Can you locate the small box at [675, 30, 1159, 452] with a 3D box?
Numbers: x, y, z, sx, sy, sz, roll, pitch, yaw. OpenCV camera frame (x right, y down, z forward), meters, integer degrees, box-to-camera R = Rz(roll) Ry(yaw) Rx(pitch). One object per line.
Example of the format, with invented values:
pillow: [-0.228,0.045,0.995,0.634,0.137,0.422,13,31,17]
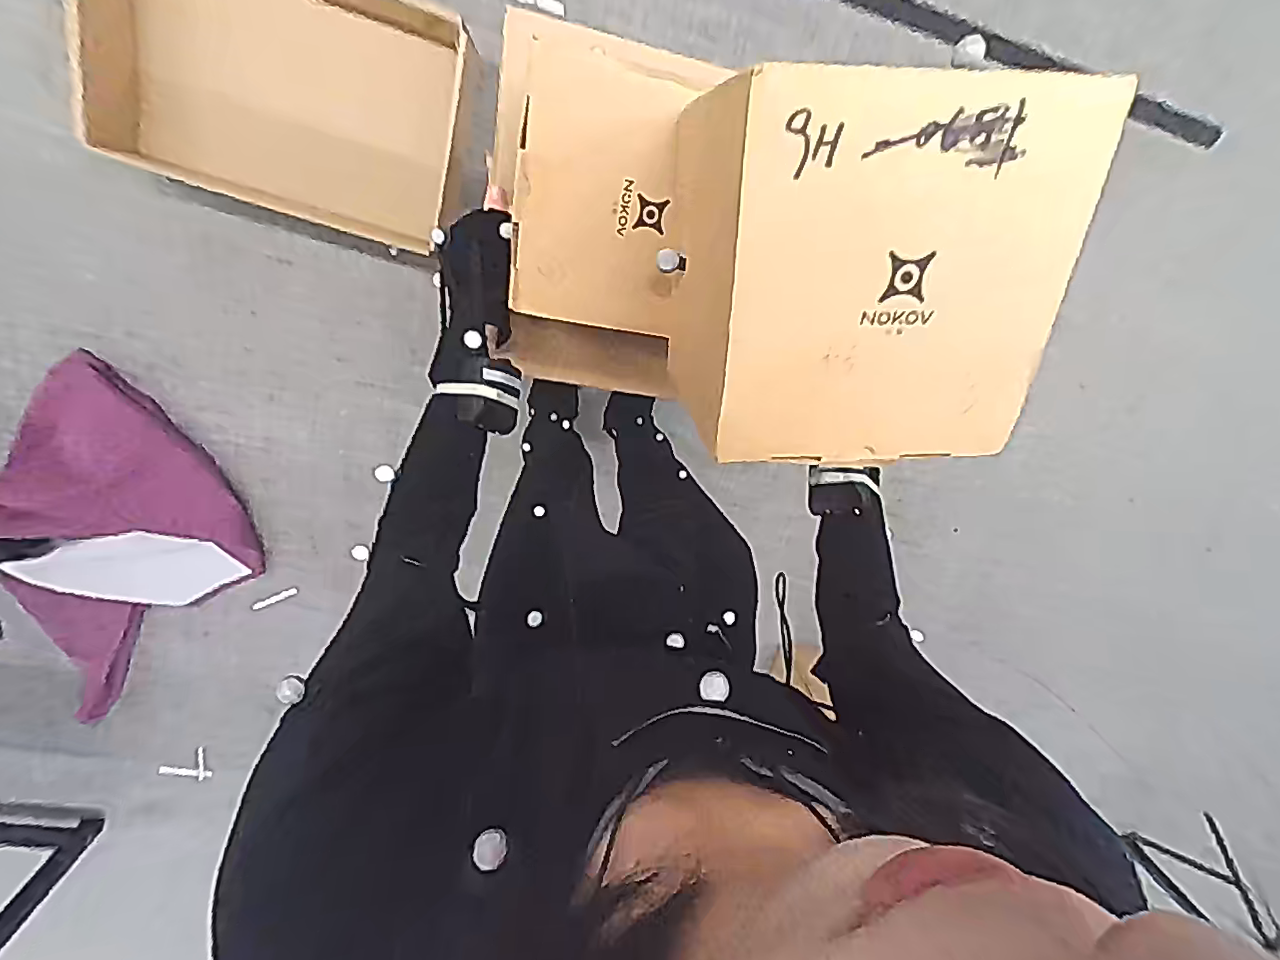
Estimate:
small box: [0.116,-0.132,0.316,0.168,0.176,0.179,-2,120,-6]

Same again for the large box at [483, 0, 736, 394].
large box: [0.035,-0.300,0.671,0.408,0.320,0.320,7,114,-12]
